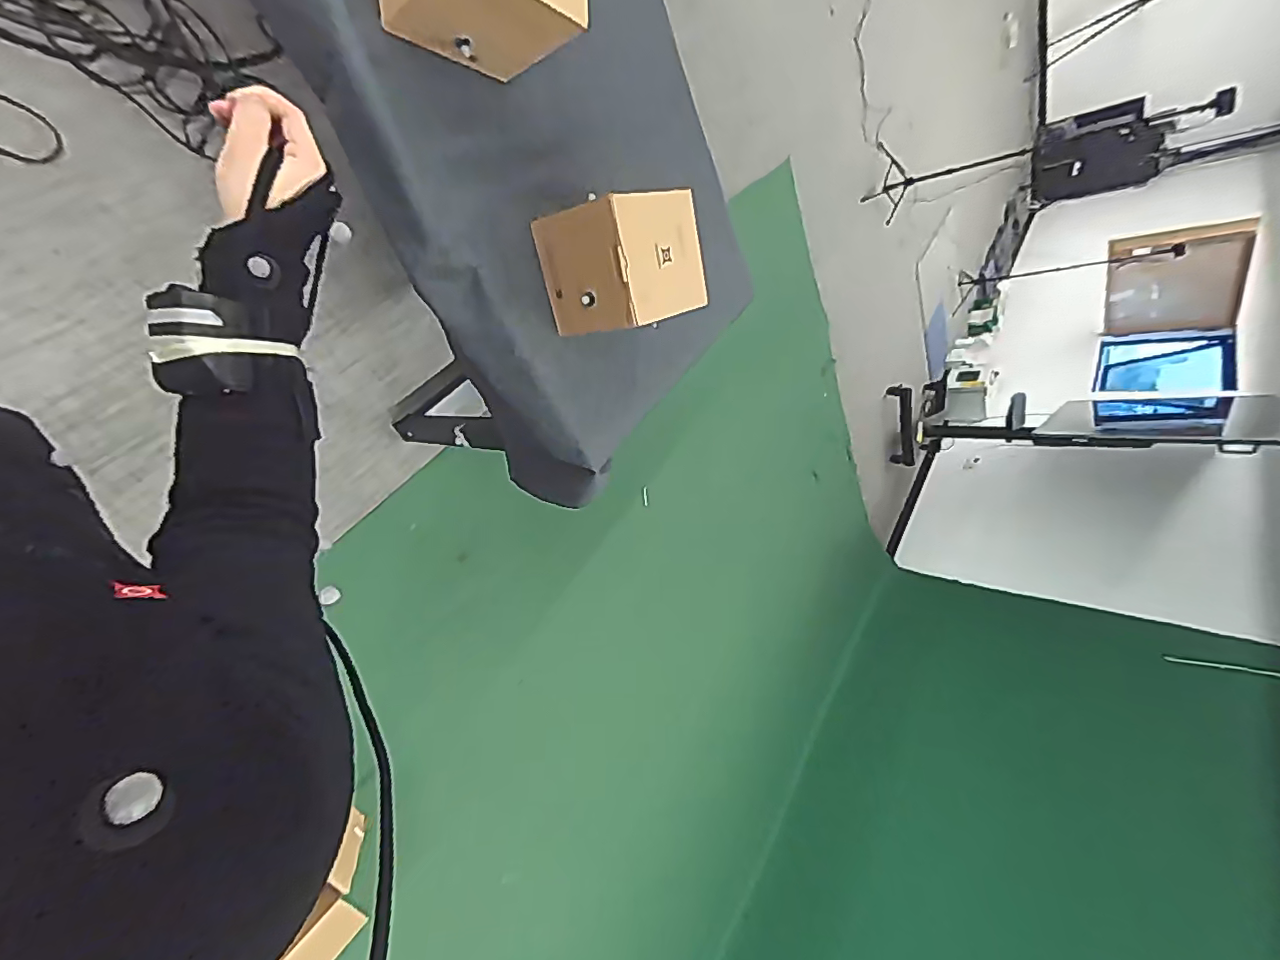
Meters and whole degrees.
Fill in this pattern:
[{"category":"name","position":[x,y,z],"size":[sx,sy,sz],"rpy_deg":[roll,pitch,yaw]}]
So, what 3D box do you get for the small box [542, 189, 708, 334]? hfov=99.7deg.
[{"category":"small box","position":[-0.025,-0.320,0.804],"size":[0.179,0.176,0.168],"rpy_deg":[-33,119,-42]}]
